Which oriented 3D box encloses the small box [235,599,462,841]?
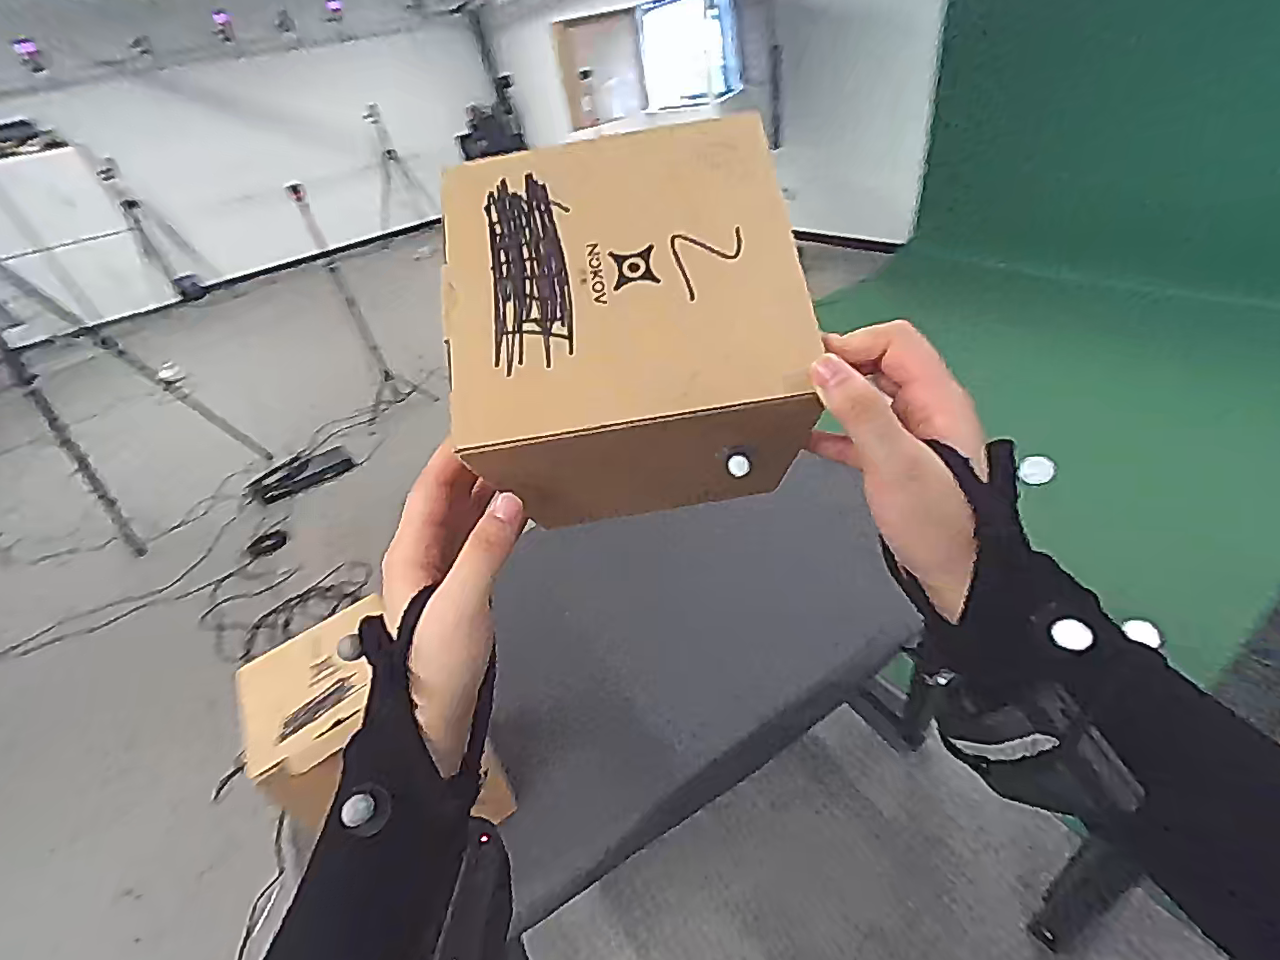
[{"bbox_3d":[-0.338,0.284,0.640,0.168,0.176,0.179,-31,38,-24],"label":"small box"}]

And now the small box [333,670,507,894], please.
[{"bbox_3d":[-0.300,0.408,0.741,0.179,0.176,0.168,-30,38,-20],"label":"small box"}]
